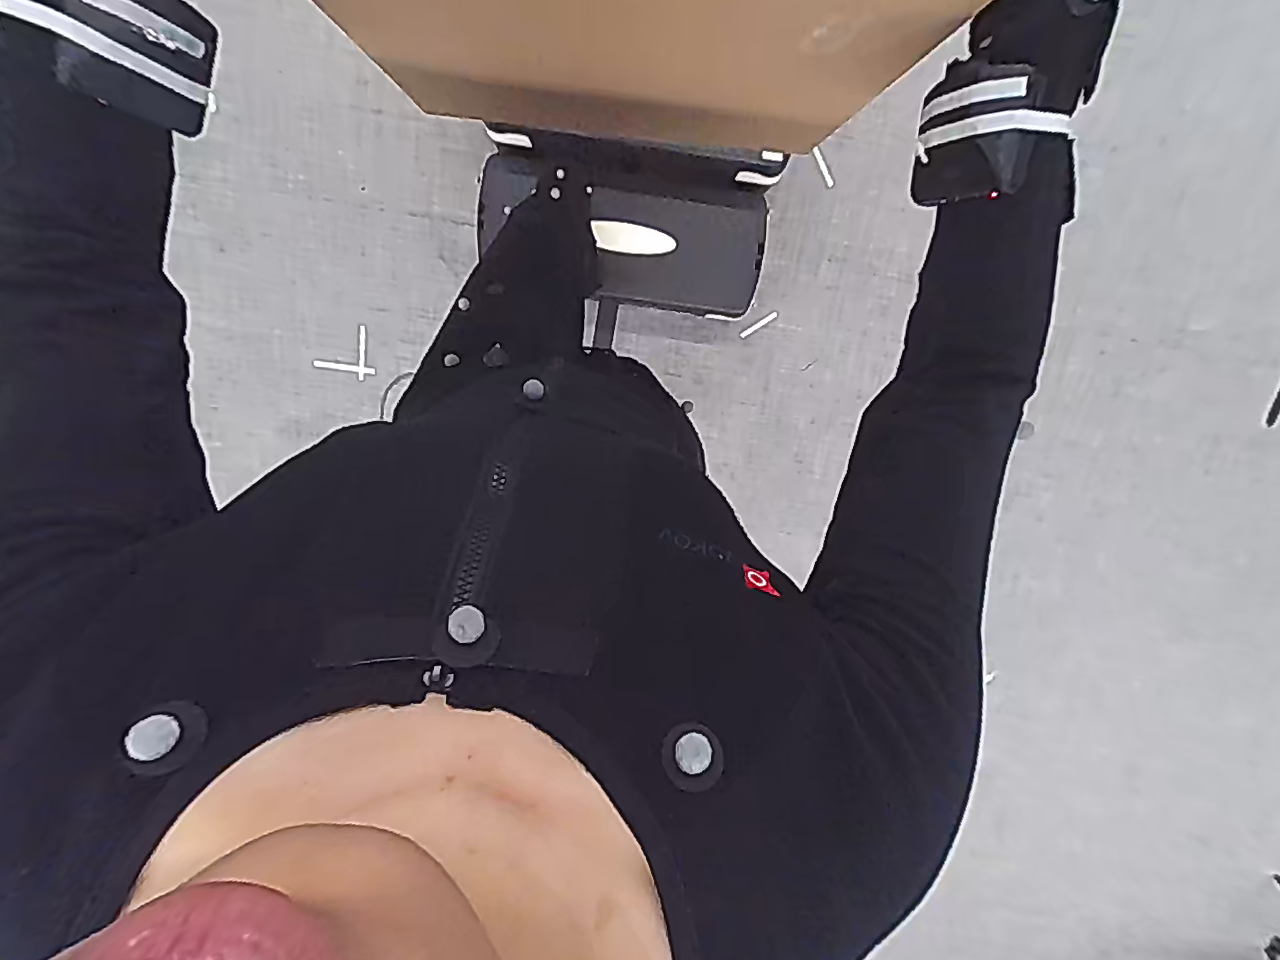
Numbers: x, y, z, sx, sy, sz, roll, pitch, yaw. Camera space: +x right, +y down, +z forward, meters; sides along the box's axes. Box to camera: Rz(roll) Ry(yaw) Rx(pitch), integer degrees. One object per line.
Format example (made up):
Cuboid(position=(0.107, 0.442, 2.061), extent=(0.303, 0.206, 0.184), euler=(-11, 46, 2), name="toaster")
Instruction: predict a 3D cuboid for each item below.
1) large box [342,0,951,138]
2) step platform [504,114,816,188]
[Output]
Cuboid(position=(-0.003, -0.473, 0.380), extent=(0.408, 0.320, 0.320), euler=(3, 108, -4), name="large box")
Cuboid(position=(0.047, -0.850, 1.170), extent=(0.684, 0.204, 0.286), euler=(7, 105, -4), name="step platform")
